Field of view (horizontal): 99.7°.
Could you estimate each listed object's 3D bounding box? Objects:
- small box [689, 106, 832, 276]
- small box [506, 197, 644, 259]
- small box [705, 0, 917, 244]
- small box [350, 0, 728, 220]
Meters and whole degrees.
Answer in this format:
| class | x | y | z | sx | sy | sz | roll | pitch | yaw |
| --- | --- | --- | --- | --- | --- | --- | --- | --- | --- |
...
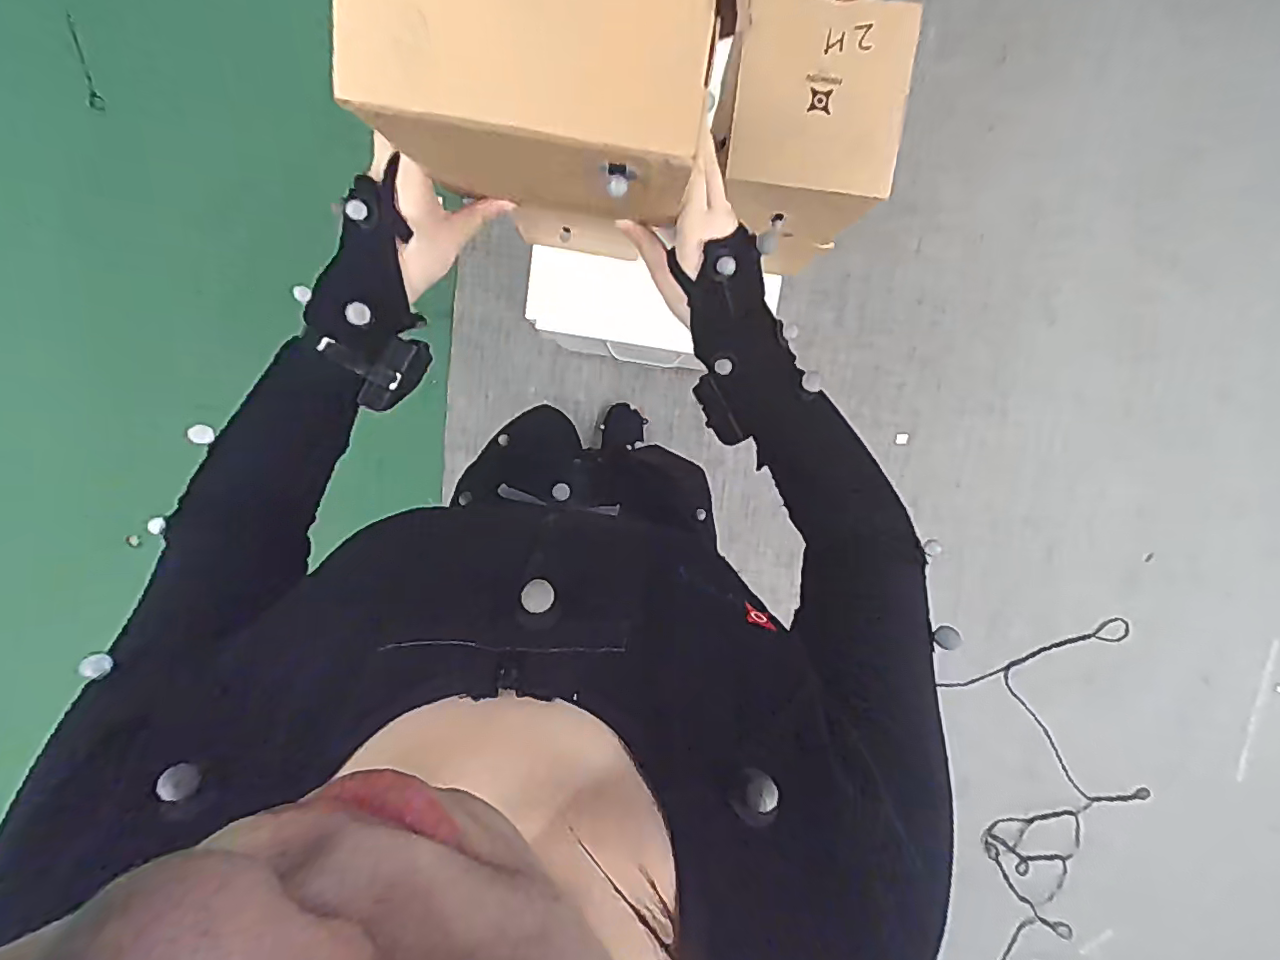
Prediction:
| class | x | y | z | sx | sy | sz | roll | pitch | yaw |
| --- | --- | --- | --- | --- | --- | --- | --- | --- | --- |
| small box | 0.172 | -0.401 | 0.767 | 0.179 | 0.176 | 0.168 | 8 | 99 | -3 |
| small box | -0.074 | -0.423 | 0.753 | 0.179 | 0.176 | 0.168 | 9 | 99 | -5 |
| small box | 0.172 | -0.381 | 0.603 | 0.168 | 0.176 | 0.179 | 6 | 98 | -3 |
| small box | -0.044 | -0.271 | 0.324 | 0.179 | 0.176 | 0.168 | 7 | 104 | -4 |
